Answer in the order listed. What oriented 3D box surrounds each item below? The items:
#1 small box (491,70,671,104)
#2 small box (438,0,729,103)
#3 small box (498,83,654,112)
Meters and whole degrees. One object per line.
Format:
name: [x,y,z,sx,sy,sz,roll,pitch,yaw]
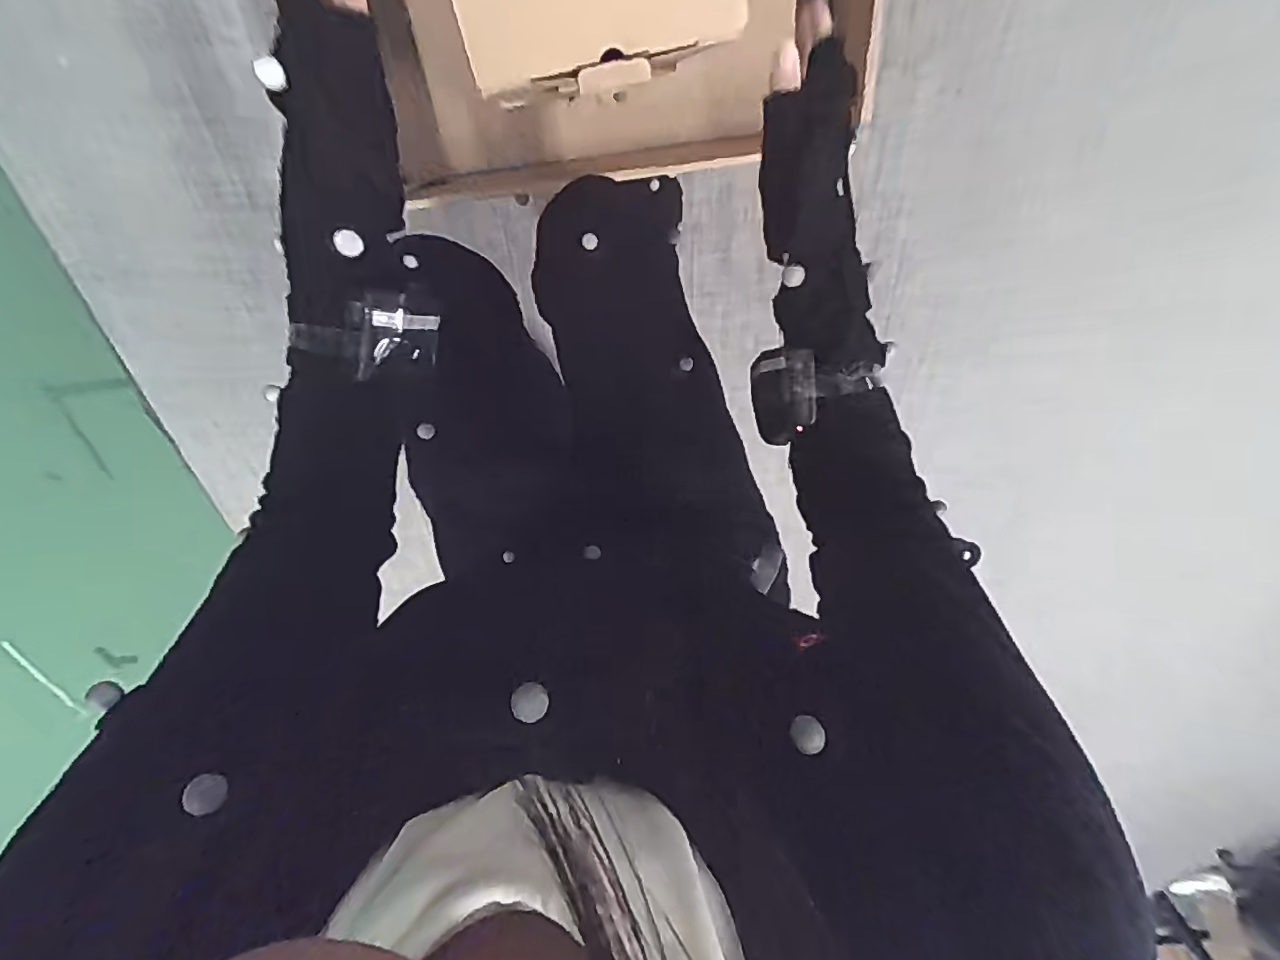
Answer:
small box: [-0.069,-0.445,0.476,0.168,0.176,0.179,-9,124,-2]
small box: [-0.045,-0.358,0.339,0.168,0.176,0.179,-11,126,0]
small box: [-0.086,-0.529,0.612,0.179,0.176,0.168,-9,125,1]
